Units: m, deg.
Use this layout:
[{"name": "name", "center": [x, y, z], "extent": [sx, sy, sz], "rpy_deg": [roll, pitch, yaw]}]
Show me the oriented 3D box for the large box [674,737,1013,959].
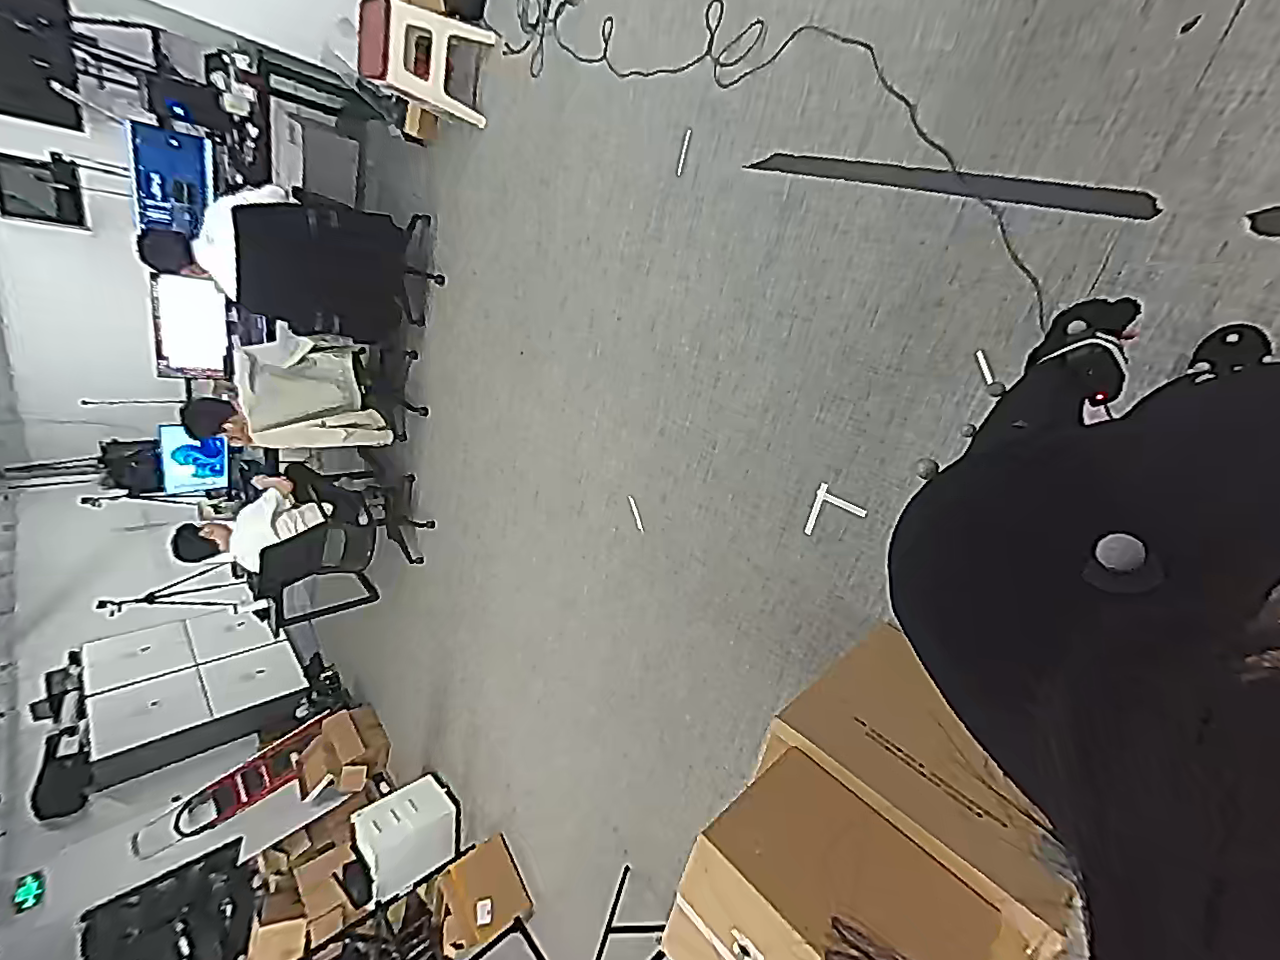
[{"name": "large box", "center": [0.329, 0.749, 0.928], "extent": [0.408, 0.320, 0.320], "rpy_deg": [30, 117, 39]}]
